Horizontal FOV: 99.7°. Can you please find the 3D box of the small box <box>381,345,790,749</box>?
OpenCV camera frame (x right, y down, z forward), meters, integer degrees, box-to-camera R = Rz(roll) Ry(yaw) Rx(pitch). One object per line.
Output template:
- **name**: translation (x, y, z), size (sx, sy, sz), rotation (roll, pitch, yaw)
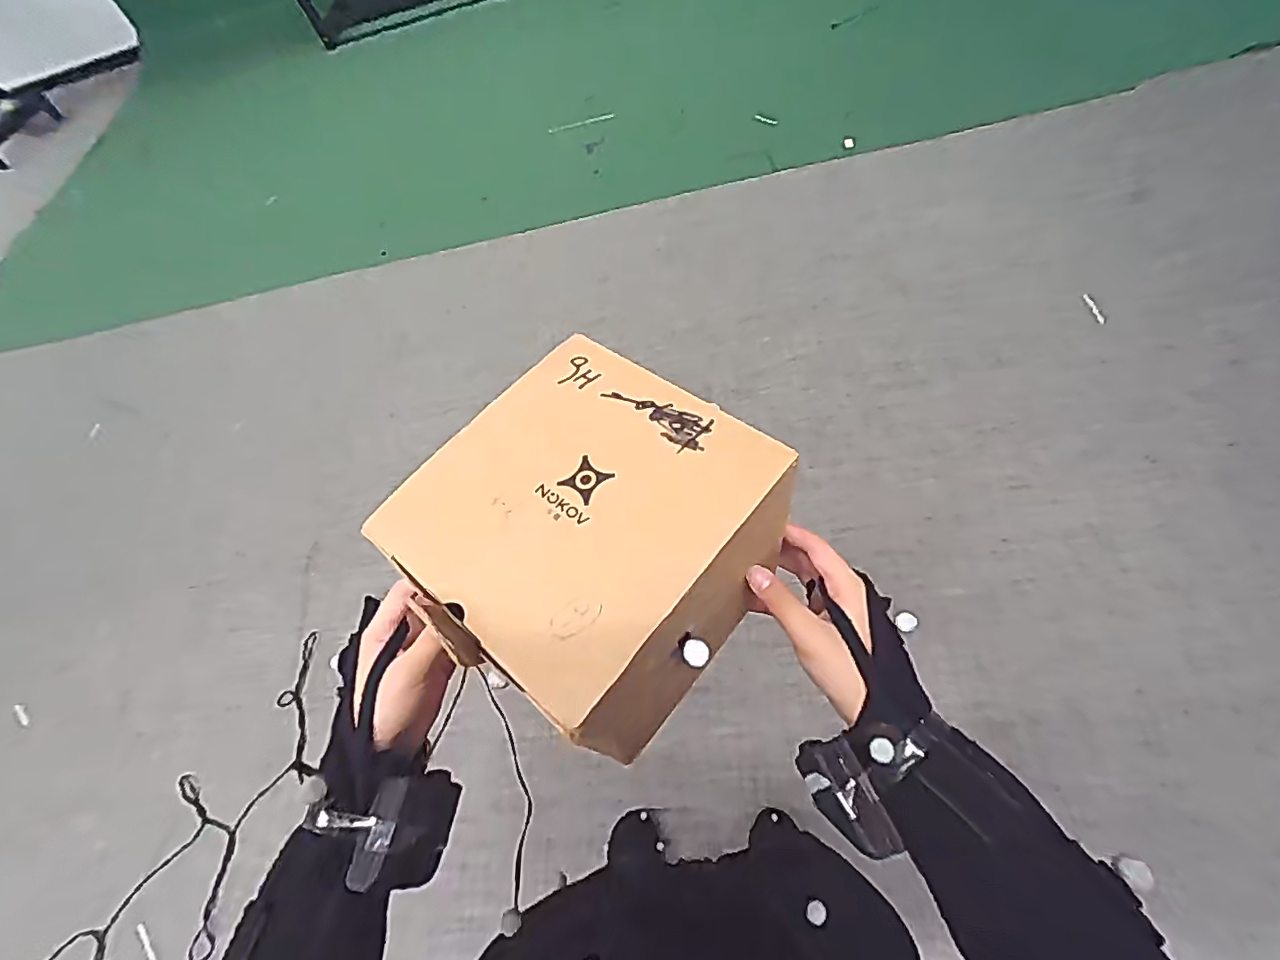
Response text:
- **small box**: translation (-0.021, 0.052, 0.363), size (0.168, 0.176, 0.179), rotation (34, 70, 25)
